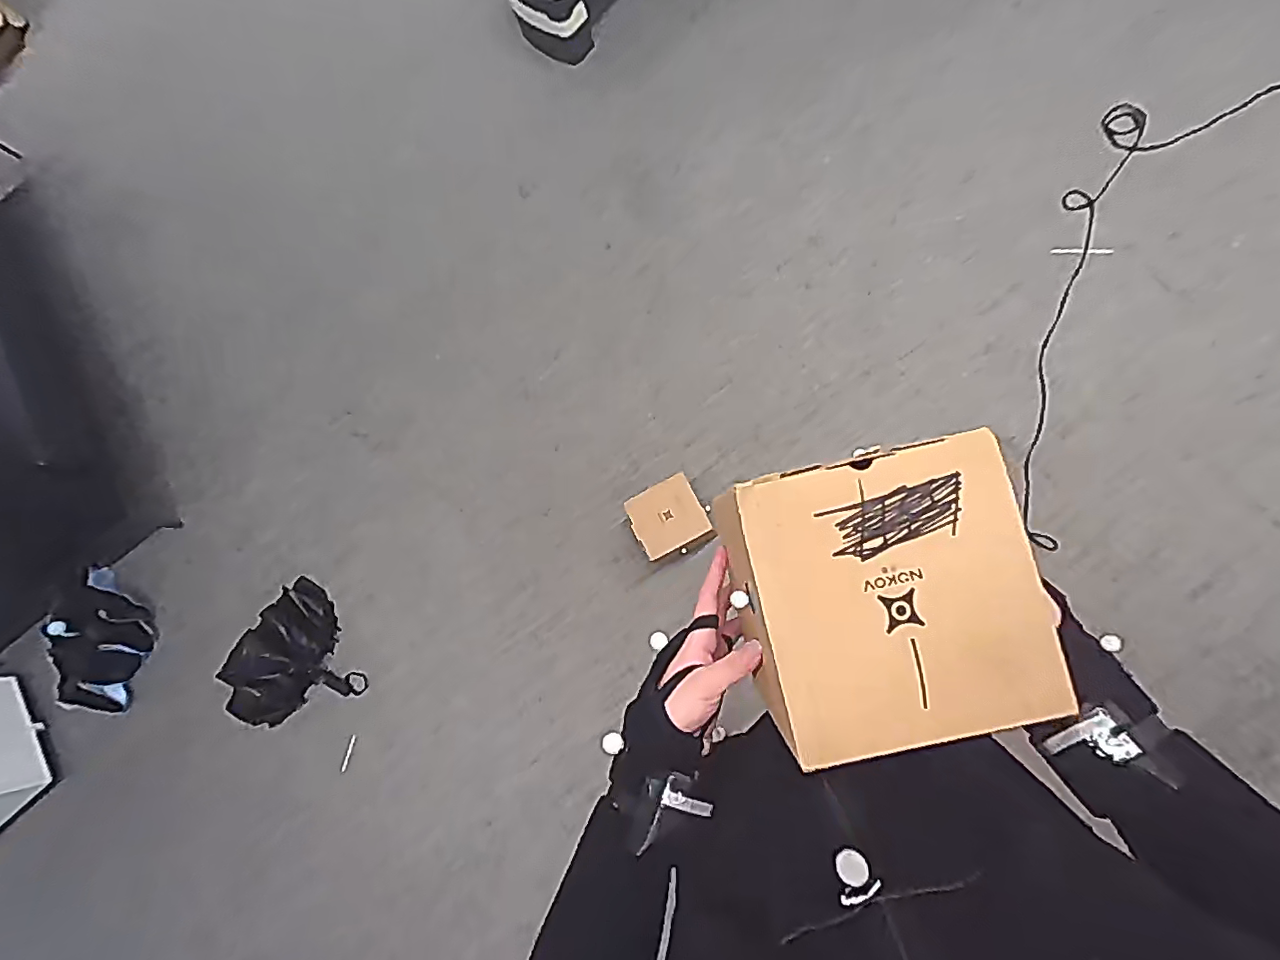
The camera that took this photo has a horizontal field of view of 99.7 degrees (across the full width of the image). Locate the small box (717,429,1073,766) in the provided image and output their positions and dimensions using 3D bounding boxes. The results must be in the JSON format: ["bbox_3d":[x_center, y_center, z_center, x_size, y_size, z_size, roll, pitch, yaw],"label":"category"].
[{"bbox_3d":[0.159,0.076,0.404,0.168,0.176,0.179,-13,84,3],"label":"small box"}]

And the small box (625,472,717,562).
[{"bbox_3d":[0.088,0.104,1.408,0.179,0.176,0.168,-29,75,4],"label":"small box"}]
